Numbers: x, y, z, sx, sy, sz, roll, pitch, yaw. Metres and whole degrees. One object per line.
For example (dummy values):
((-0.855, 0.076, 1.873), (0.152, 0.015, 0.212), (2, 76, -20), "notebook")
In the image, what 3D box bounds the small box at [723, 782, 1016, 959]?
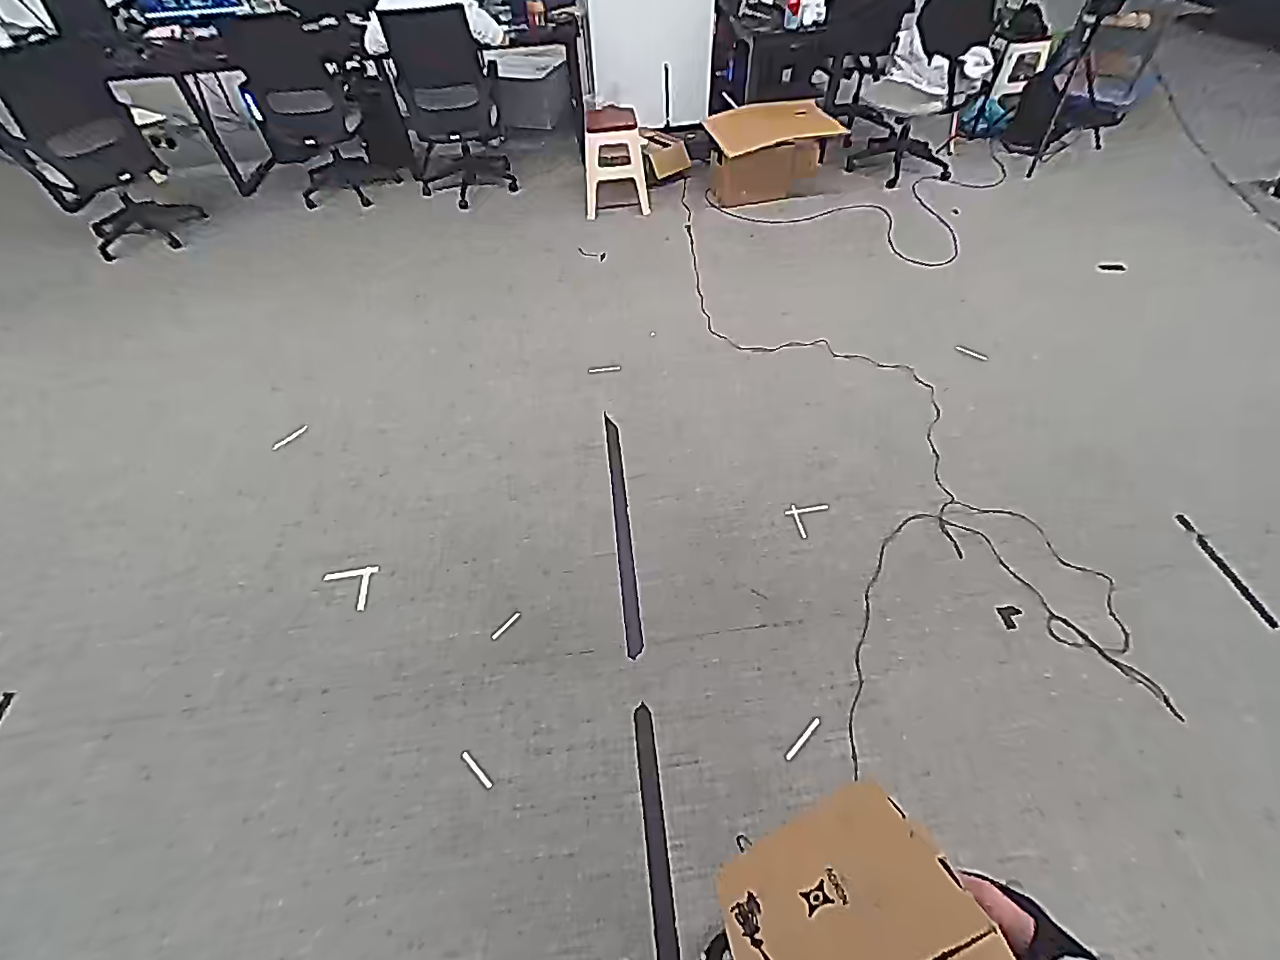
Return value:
((0.196, 0.402, 0.438), (0.179, 0.168, 0.176), (-30, 92, -2), "small box")
